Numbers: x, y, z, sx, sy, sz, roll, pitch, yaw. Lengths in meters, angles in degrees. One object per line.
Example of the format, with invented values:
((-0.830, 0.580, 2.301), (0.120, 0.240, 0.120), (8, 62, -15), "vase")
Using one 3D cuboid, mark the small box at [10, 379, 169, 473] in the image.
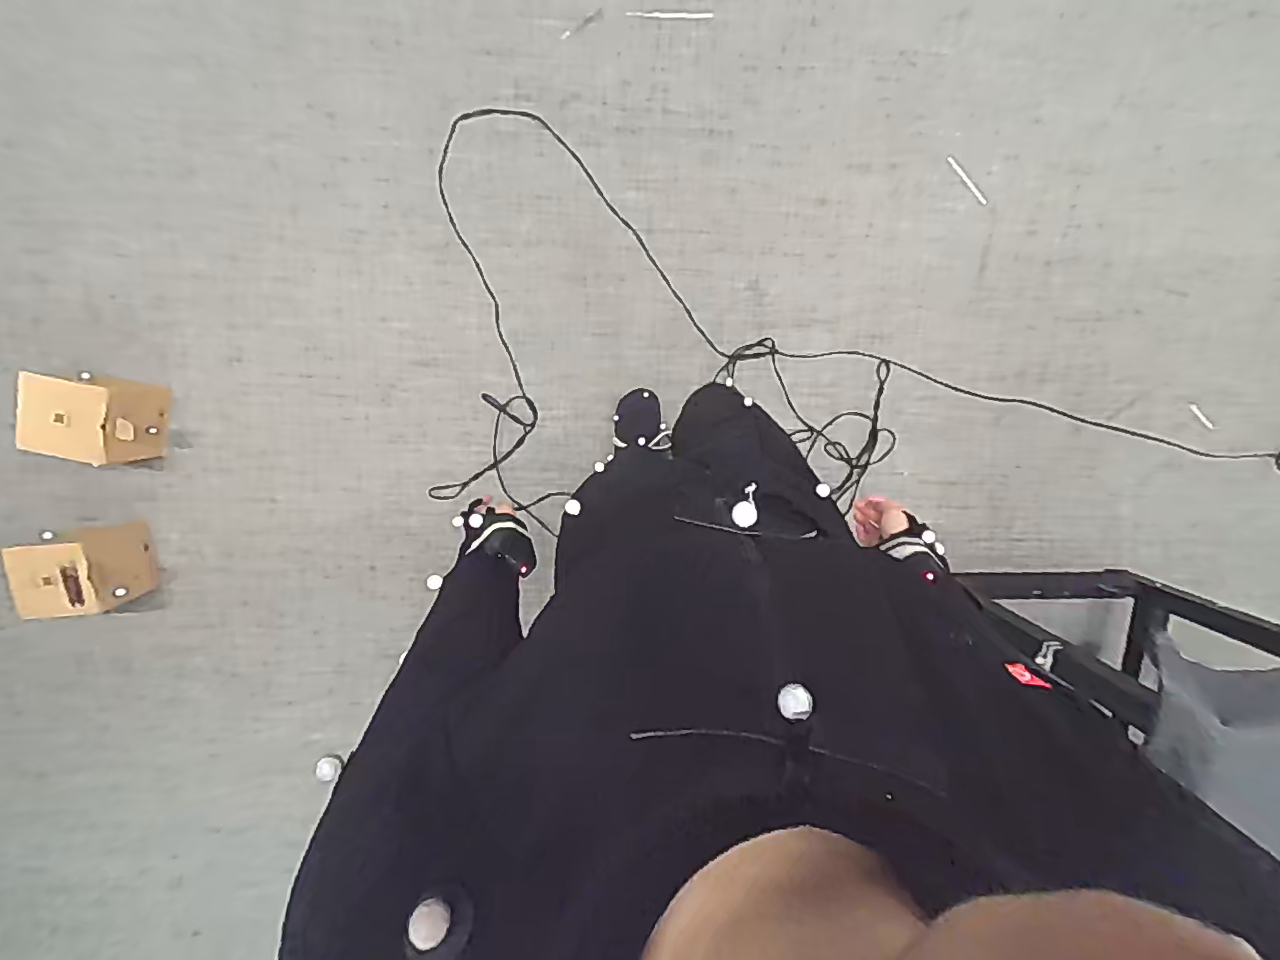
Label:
((-1.198, -0.120, 1.187), (0.179, 0.176, 0.168), (11, 98, -5), "small box")
